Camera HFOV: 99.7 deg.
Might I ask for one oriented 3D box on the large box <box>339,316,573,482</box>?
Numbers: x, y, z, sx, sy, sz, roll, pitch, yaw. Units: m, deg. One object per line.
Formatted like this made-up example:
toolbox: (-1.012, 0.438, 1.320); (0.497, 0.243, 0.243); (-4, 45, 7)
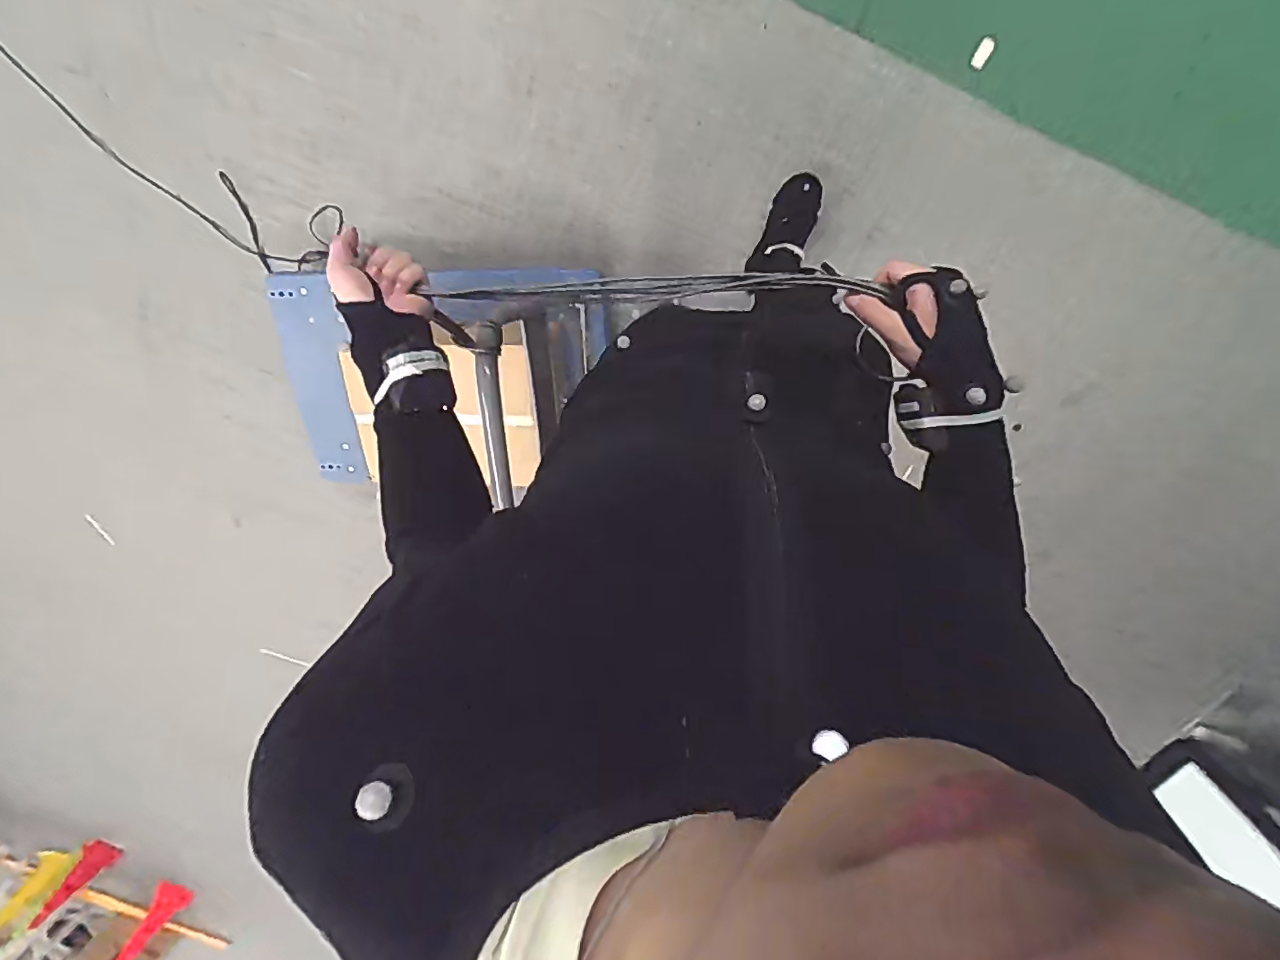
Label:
large box: (-0.395, -0.200, 1.271); (0.408, 0.320, 0.320); (1, 114, 6)
